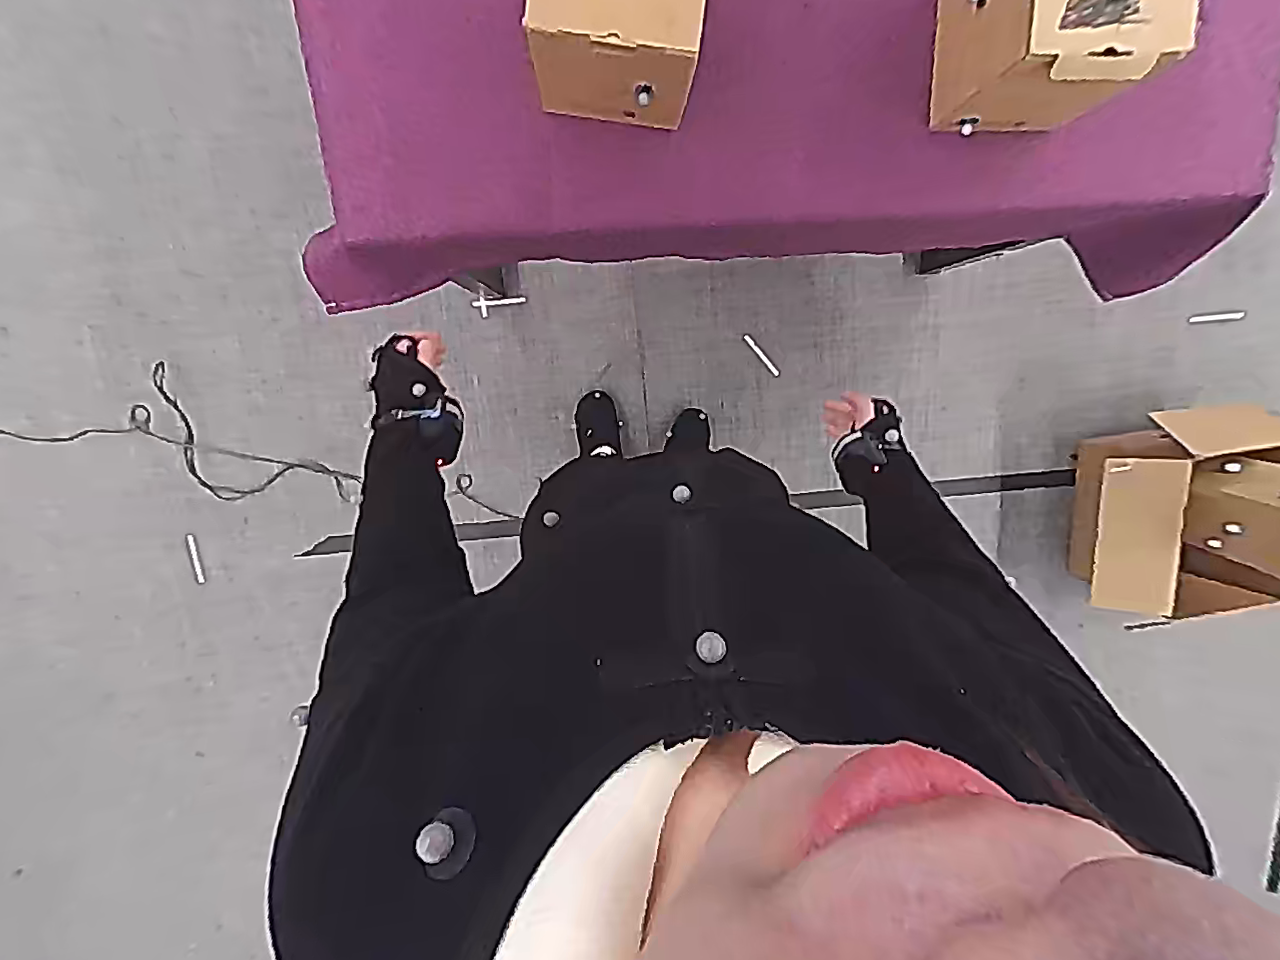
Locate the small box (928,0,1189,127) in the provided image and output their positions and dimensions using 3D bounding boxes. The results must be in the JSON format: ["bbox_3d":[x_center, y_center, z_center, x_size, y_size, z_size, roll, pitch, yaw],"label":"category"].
[{"bbox_3d":[0.441,-0.512,0.589,0.168,0.176,0.179,-2,101,-3],"label":"small box"}]

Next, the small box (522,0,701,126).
[{"bbox_3d":[-0.023,-0.506,0.565,0.168,0.176,0.179,6,101,-5],"label":"small box"}]

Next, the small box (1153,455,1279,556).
[{"bbox_3d":[1.416,0.051,1.320,0.168,0.176,0.179,-26,105,6],"label":"small box"}]
